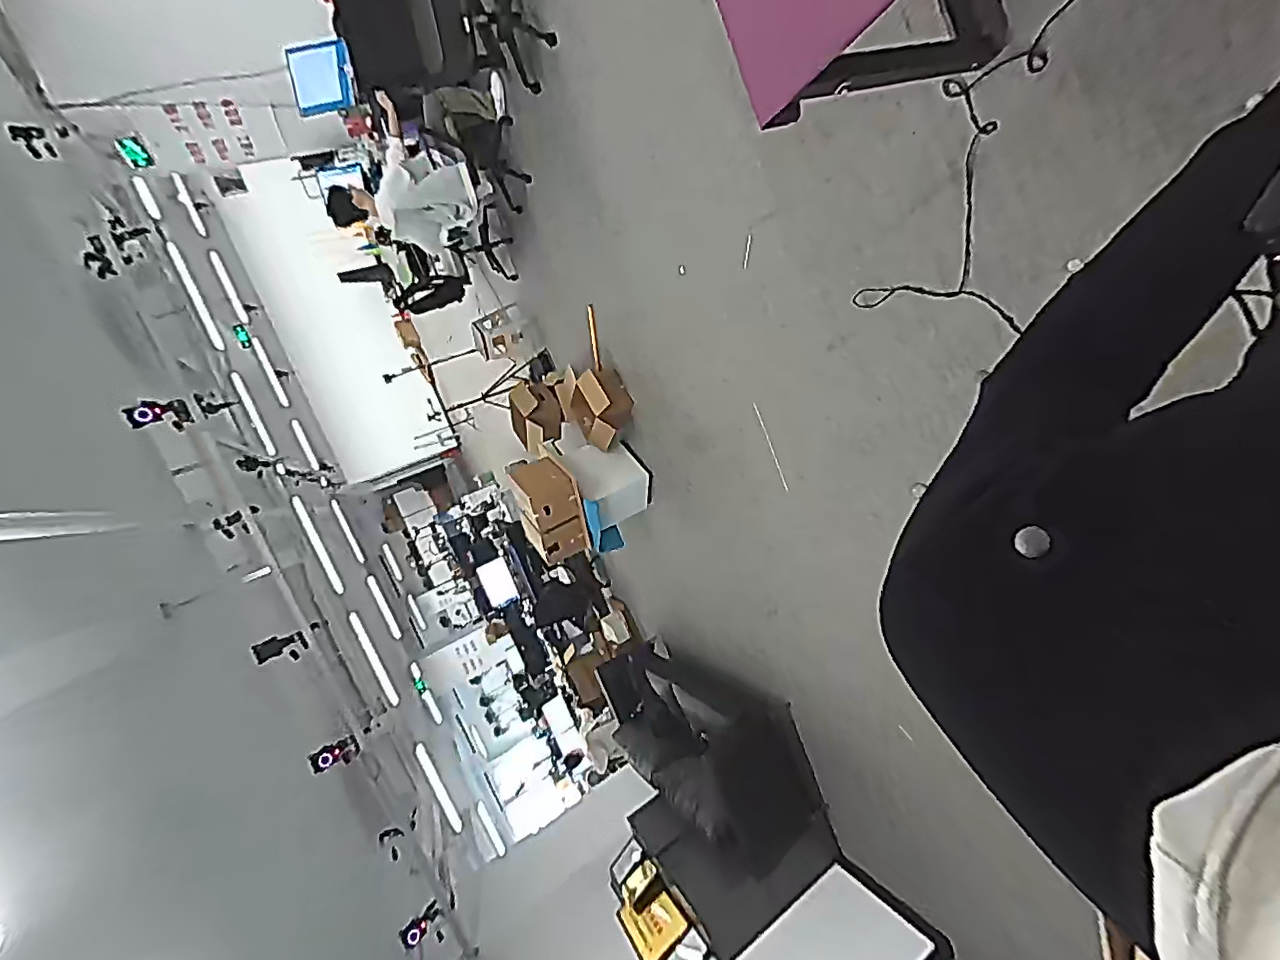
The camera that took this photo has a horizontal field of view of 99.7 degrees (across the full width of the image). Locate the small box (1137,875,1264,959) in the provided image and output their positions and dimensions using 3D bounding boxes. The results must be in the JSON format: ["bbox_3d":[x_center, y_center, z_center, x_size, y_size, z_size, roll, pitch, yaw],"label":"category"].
[{"bbox_3d":[1.328,1.103,1.284,0.168,0.176,0.179,21,132,62],"label":"small box"}]
